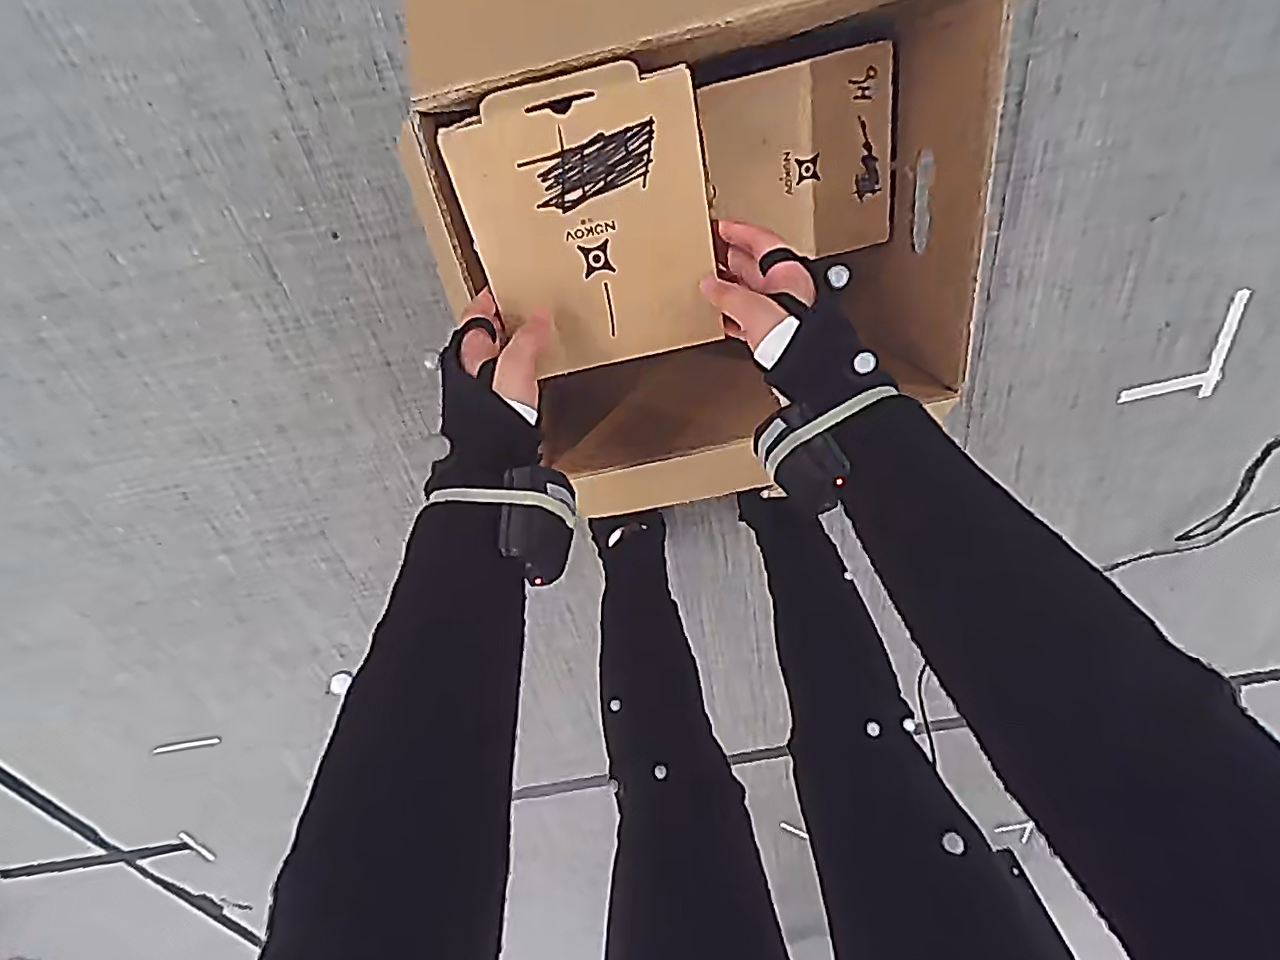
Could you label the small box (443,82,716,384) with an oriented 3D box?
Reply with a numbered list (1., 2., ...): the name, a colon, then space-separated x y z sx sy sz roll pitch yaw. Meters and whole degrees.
1. small box: -0.037 -0.206 0.458 0.168 0.176 0.179 -10 123 7
